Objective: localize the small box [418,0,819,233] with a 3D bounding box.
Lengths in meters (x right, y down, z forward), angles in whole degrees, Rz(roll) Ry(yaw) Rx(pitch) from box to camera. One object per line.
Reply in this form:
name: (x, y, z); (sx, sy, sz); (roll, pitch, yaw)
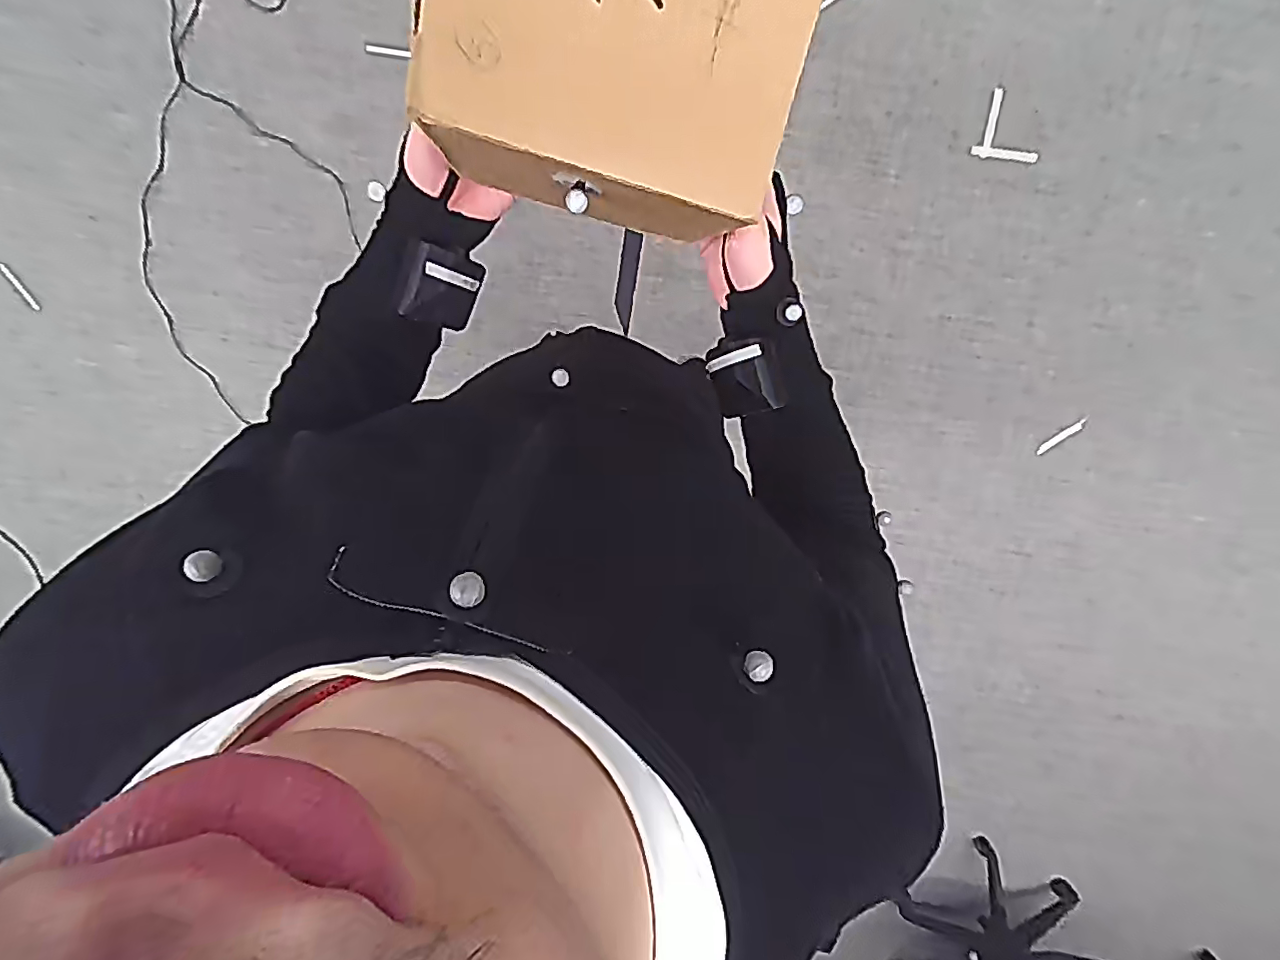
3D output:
small box: (-0.013, -0.257, 0.320); (0.179, 0.176, 0.168); (11, 108, -13)
